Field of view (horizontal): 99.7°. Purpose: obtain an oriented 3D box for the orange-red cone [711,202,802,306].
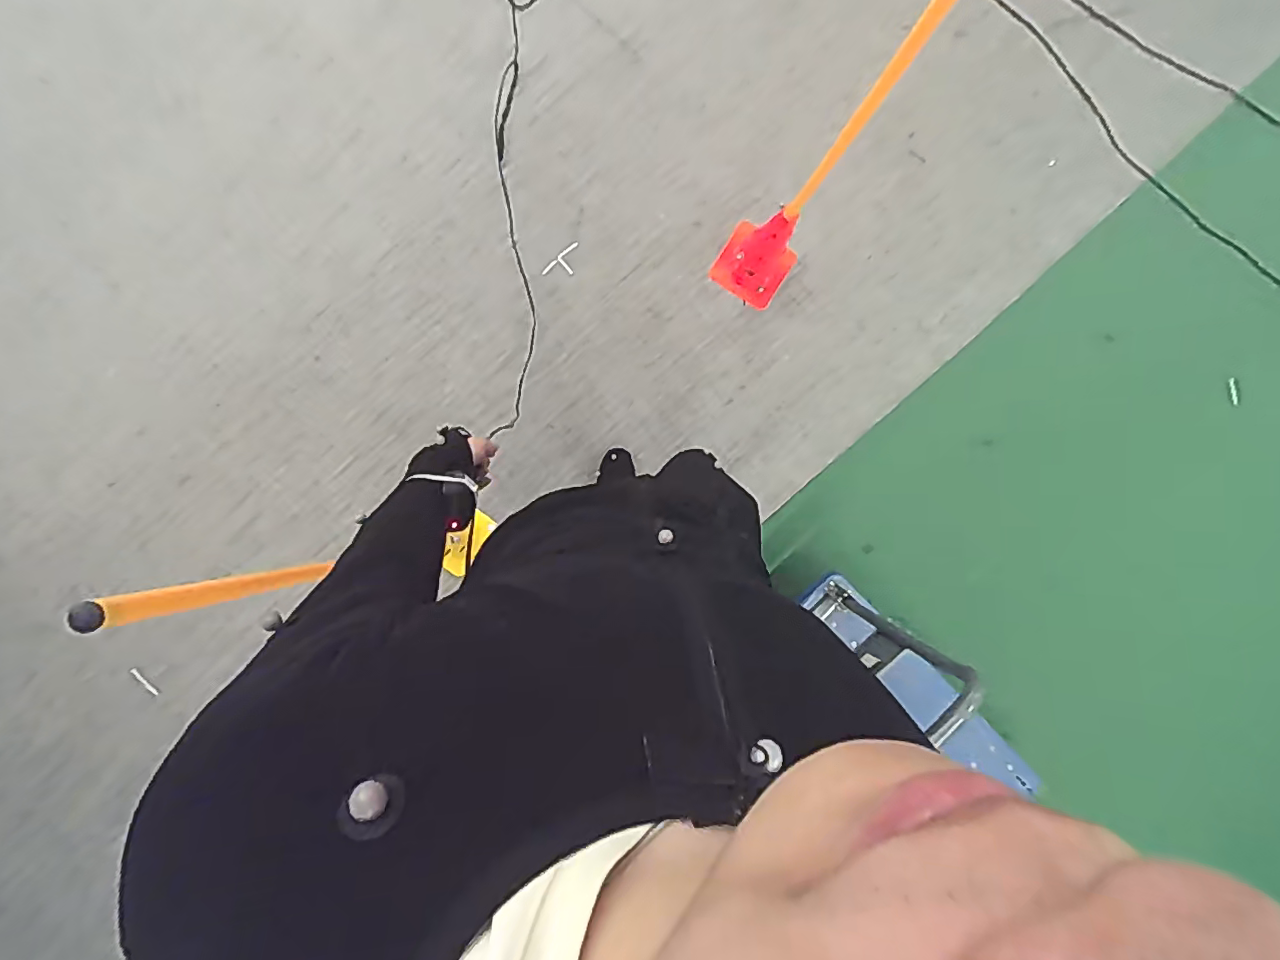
[{"bbox_3d":[0.343,-0.631,1.416,0.198,0.360,0.199,34,90,-4],"label":"orange-red cone"}]
